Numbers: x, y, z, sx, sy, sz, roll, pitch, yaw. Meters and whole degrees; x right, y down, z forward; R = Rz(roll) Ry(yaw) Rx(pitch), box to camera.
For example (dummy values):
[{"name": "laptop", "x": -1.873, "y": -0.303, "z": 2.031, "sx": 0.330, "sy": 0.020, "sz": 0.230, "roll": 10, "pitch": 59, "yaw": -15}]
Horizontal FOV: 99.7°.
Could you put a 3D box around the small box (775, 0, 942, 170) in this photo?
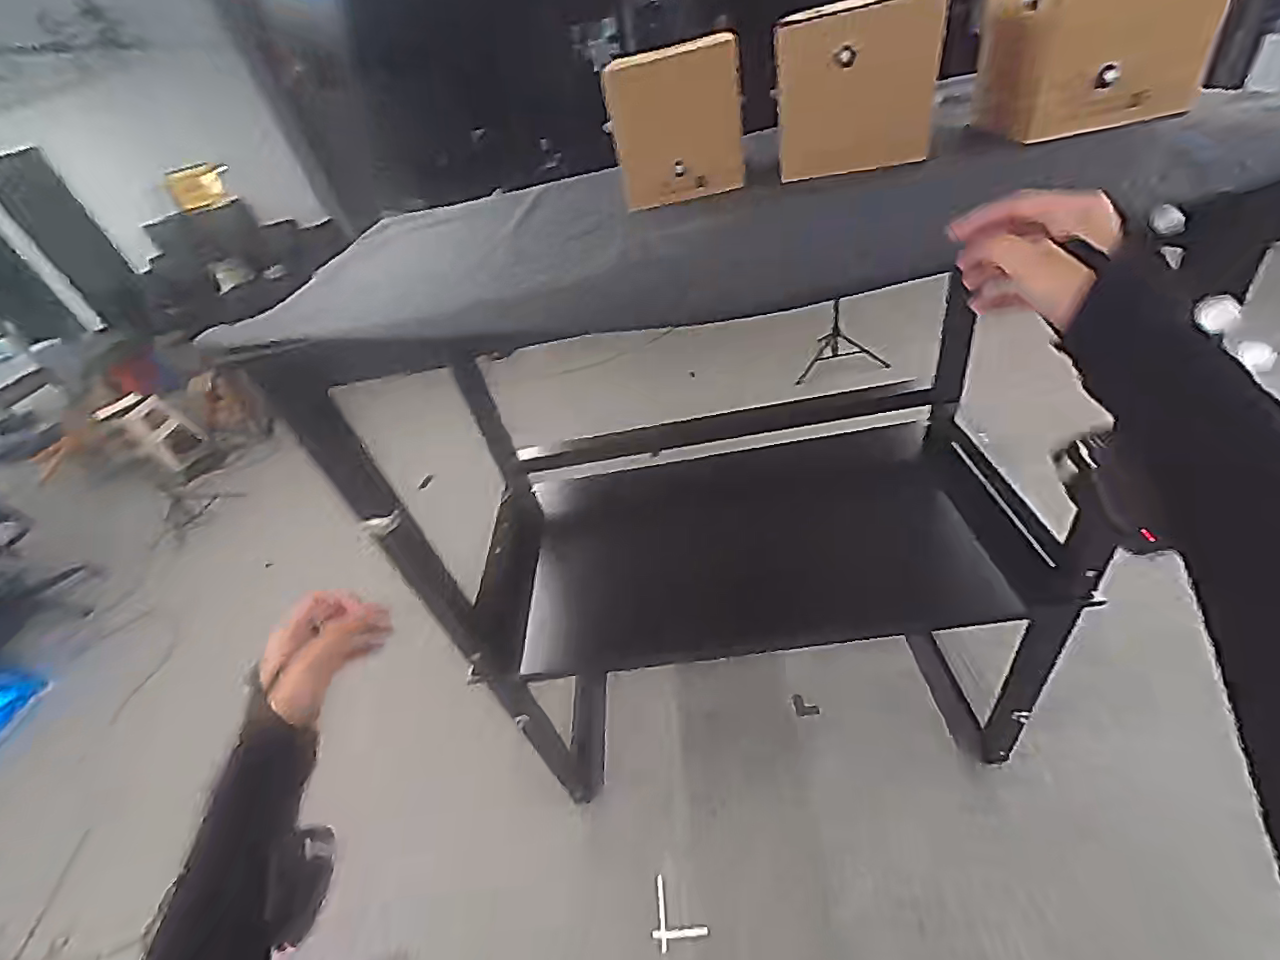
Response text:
[{"name": "small box", "x": 0.272, "y": -0.513, "z": 0.687, "sx": 0.179, "sy": 0.176, "sz": 0.168, "roll": 1, "pitch": 42, "yaw": 19}]

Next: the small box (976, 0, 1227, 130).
[{"name": "small box", "x": 0.513, "y": -0.520, "z": 0.617, "sx": 0.168, "sy": 0.176, "sz": 0.179, "roll": -7, "pitch": 40, "yaw": 11}]
